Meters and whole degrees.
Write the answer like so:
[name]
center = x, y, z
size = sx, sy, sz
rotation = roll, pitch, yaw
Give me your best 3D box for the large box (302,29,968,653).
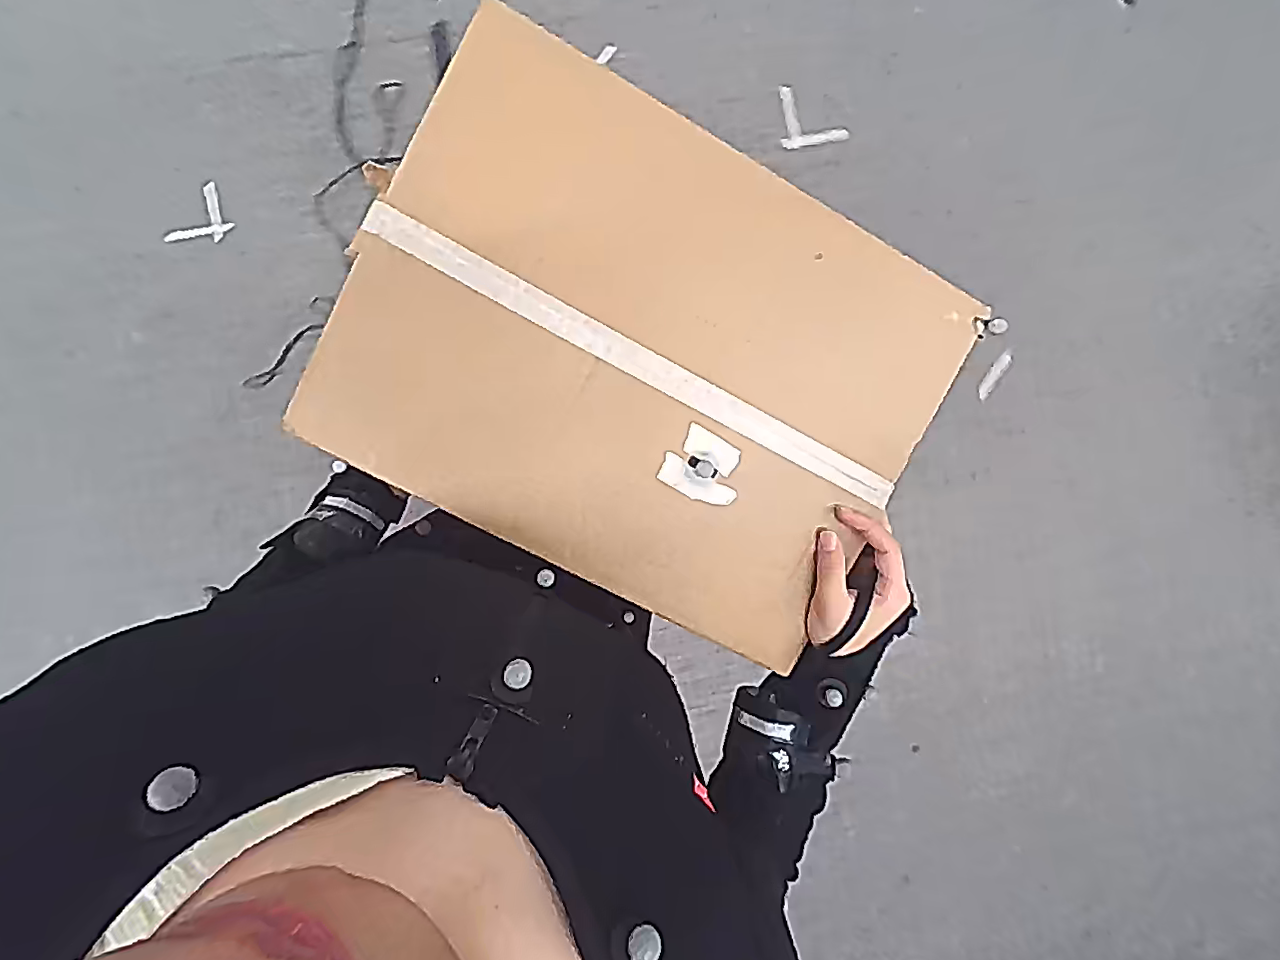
[large box]
center = -0.009, -0.097, 0.536
size = 0.408, 0.320, 0.320
rotation = 26, 95, -8
